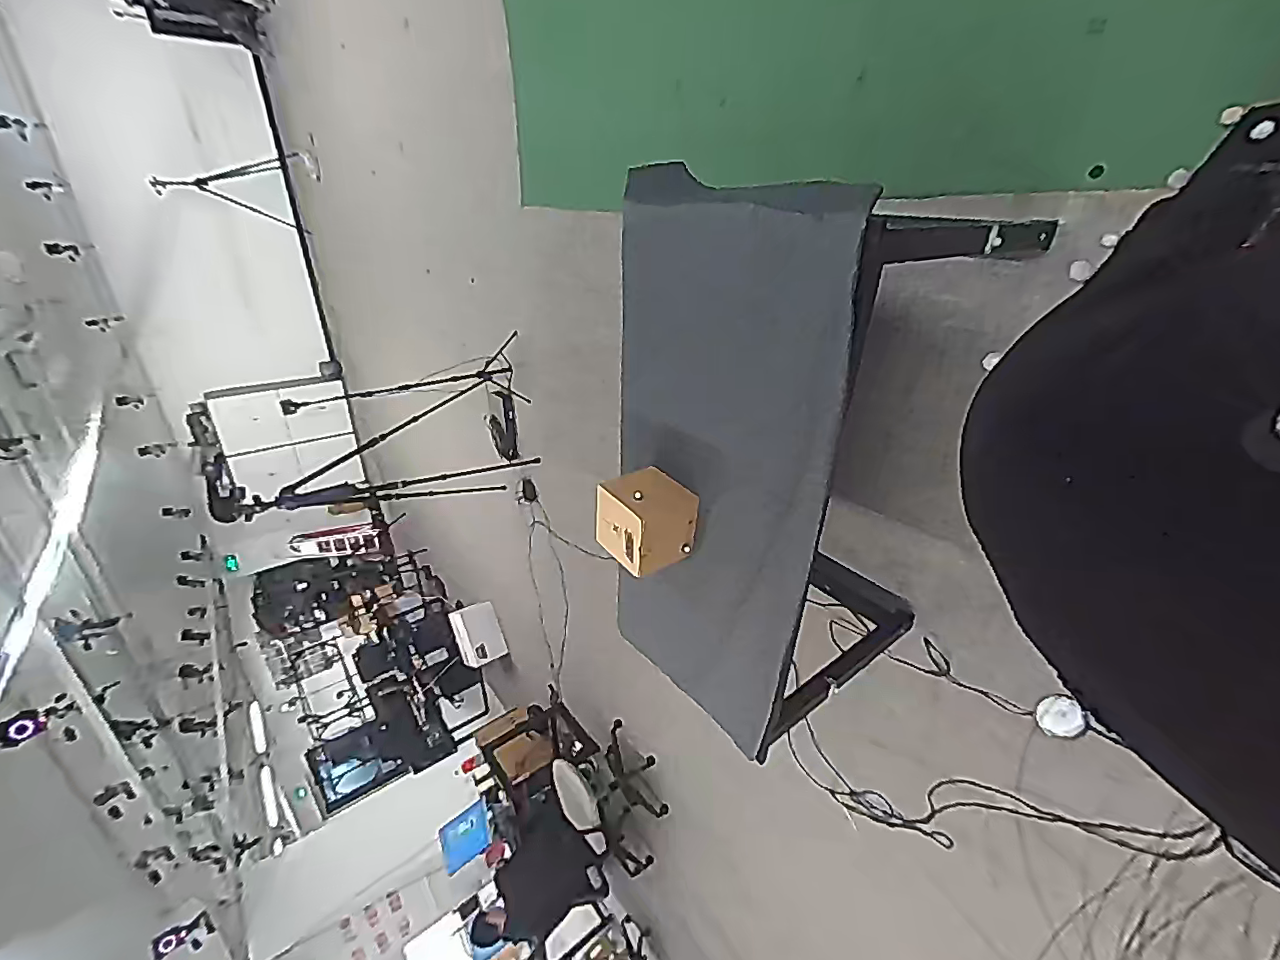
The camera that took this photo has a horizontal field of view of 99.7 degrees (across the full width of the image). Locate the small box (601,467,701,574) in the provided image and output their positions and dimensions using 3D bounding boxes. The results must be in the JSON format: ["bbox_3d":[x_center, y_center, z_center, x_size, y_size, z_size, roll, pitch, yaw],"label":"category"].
[{"bbox_3d":[0.024,0.086,1.283,0.179,0.176,0.168,35,133,42],"label":"small box"}]
